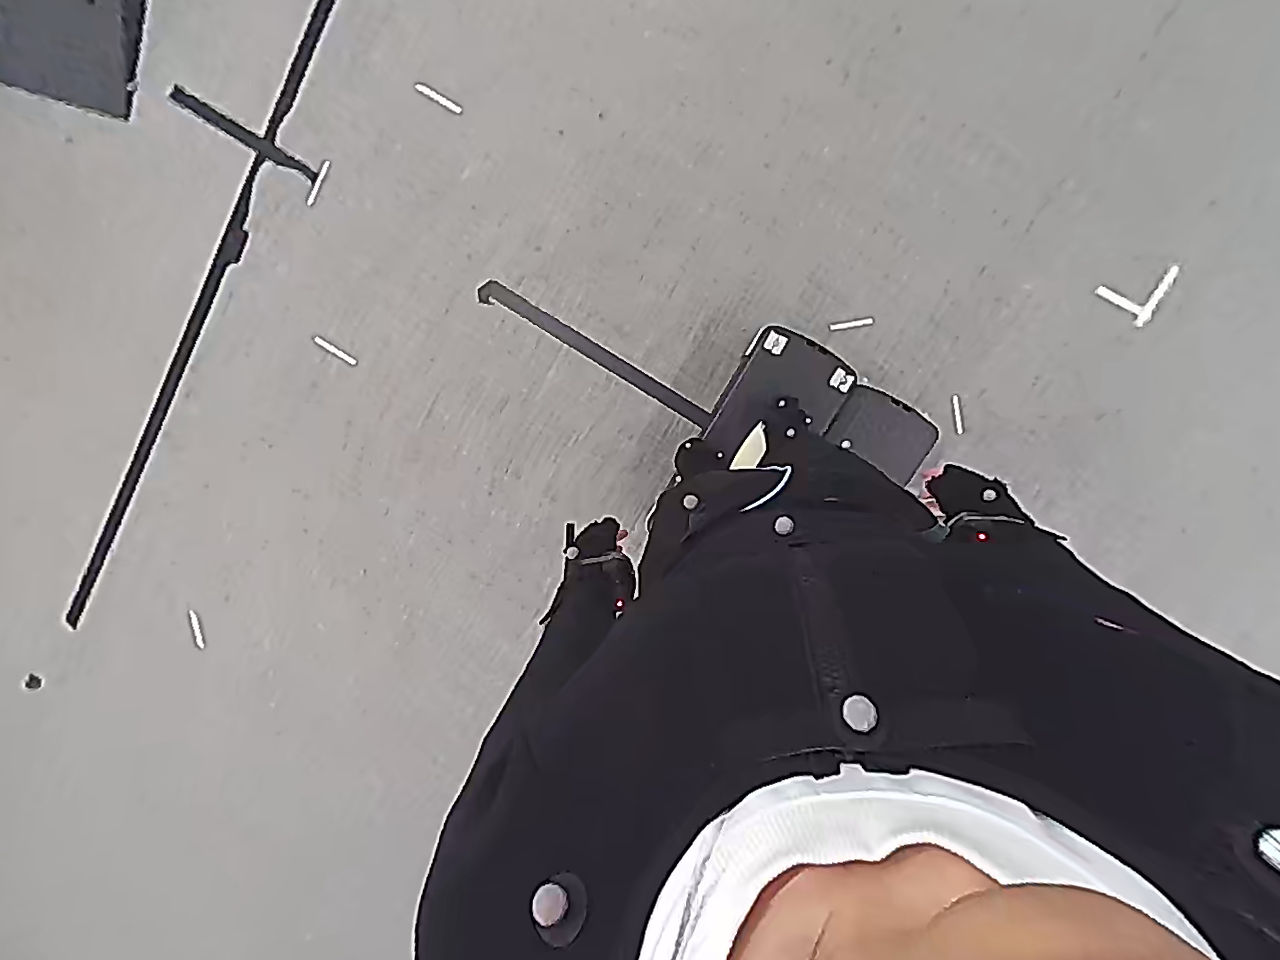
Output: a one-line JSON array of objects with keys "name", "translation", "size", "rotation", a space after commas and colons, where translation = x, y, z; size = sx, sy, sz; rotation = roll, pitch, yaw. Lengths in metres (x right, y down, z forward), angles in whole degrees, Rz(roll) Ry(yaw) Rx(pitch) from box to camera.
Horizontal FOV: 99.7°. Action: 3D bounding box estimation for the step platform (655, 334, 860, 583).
[{"name": "step platform", "translation": [0.316, -0.056, 1.518], "size": [0.286, 0.204, 0.684], "rotation": [29, 98, 1]}]
